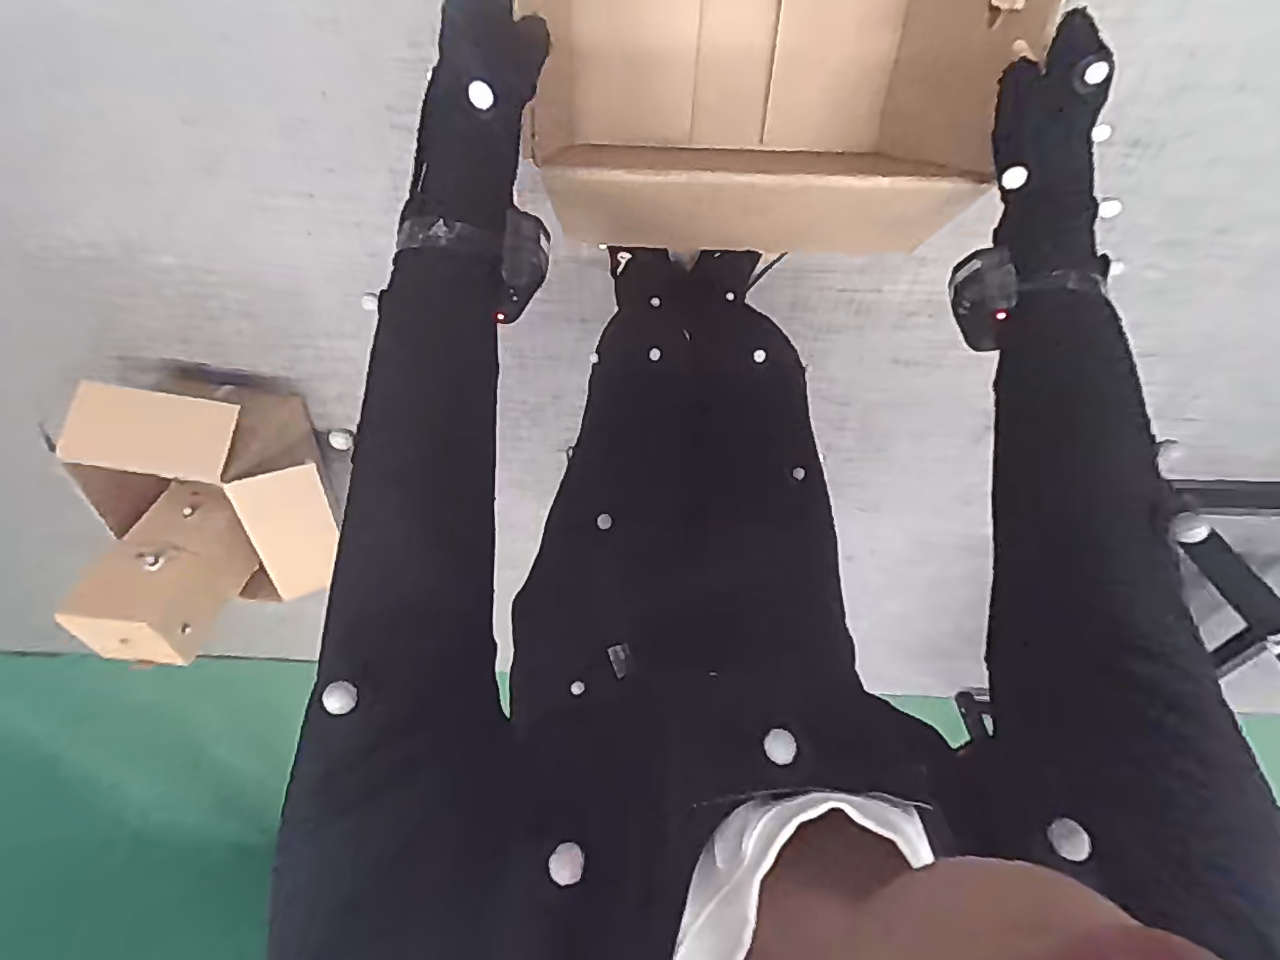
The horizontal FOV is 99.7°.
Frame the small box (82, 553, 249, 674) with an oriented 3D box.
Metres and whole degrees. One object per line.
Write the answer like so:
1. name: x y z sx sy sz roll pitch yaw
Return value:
1. small box: -0.955 0.275 1.113 0.168 0.176 0.179 6 135 -4
